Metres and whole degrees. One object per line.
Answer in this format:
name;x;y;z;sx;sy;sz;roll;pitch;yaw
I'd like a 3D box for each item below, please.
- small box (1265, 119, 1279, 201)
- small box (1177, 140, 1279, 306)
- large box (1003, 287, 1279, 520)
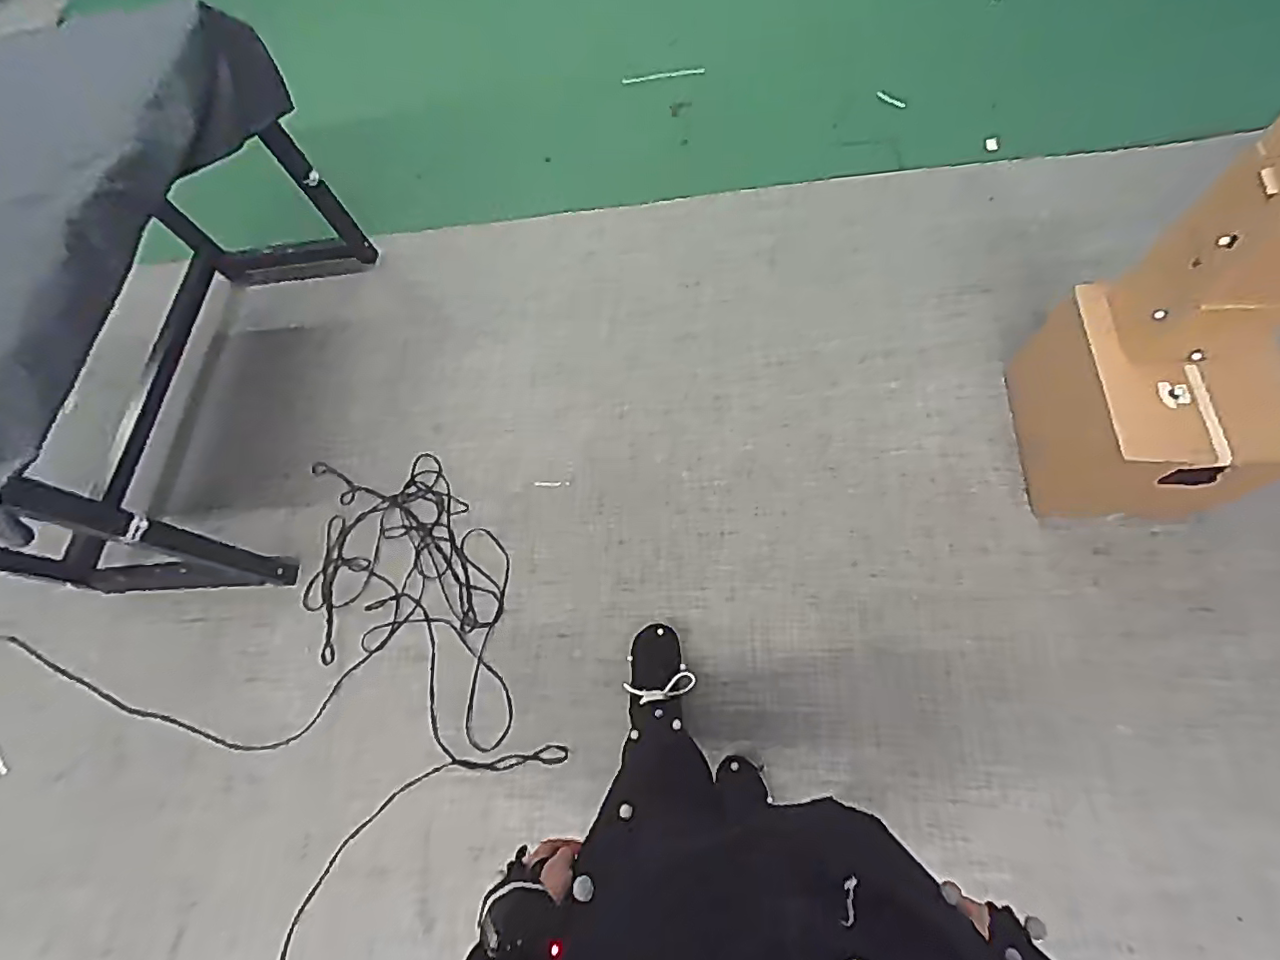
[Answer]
small box;0.952;-0.443;0.668;0.168;0.176;0.179;5;71;10
small box;0.974;-0.382;0.818;0.179;0.176;0.168;4;70;9
large box;1.045;-0.151;1.155;0.320;0.320;0.408;0;68;10
